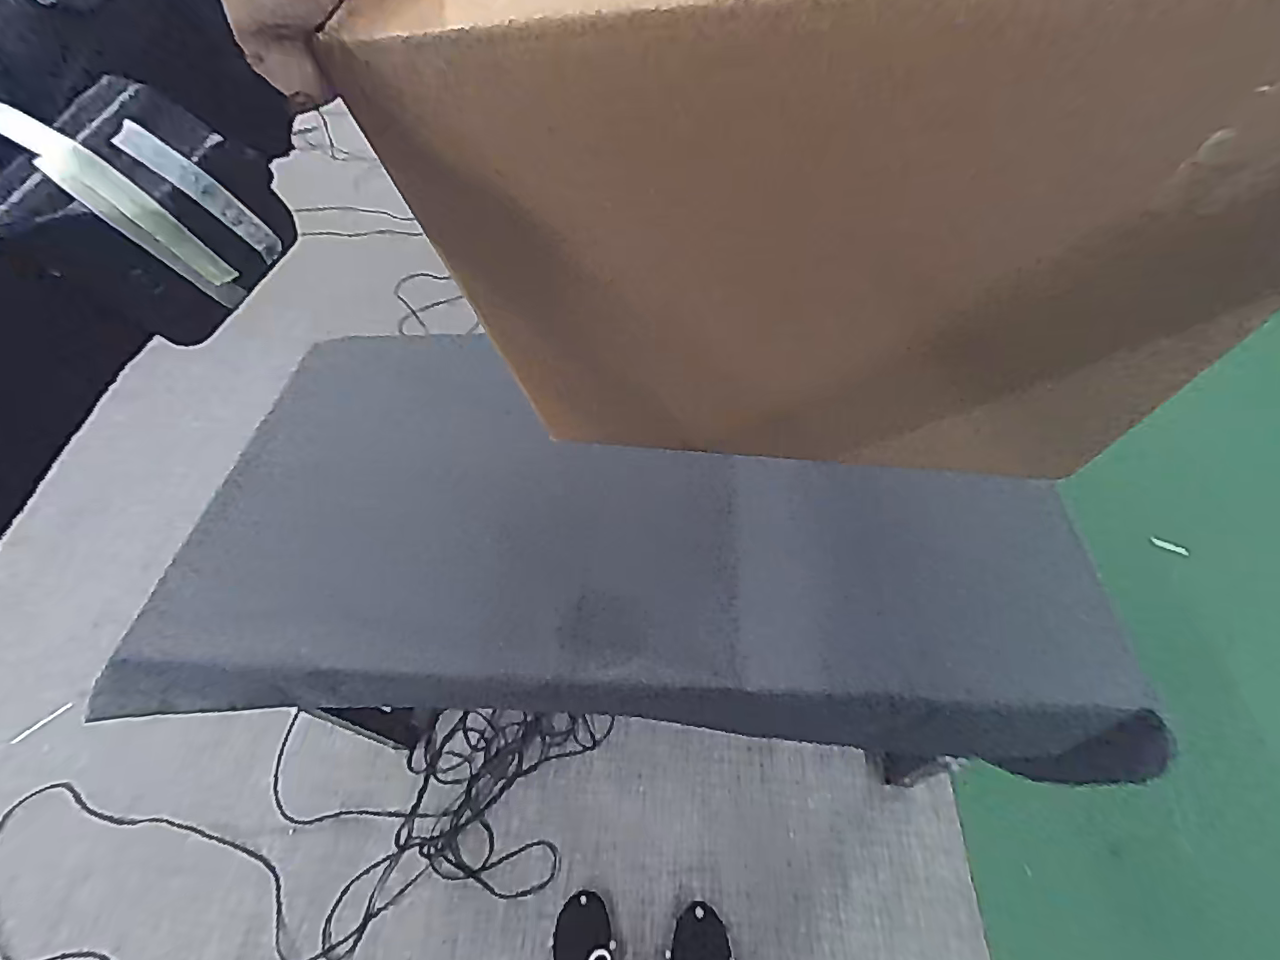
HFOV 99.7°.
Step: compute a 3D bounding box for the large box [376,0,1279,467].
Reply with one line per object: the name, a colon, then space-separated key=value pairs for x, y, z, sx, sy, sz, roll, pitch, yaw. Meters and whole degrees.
large box: x=0.129 y=-0.221 z=0.370 sx=0.408 sy=0.320 sz=0.320 roll=5 pitch=66 yaw=11
